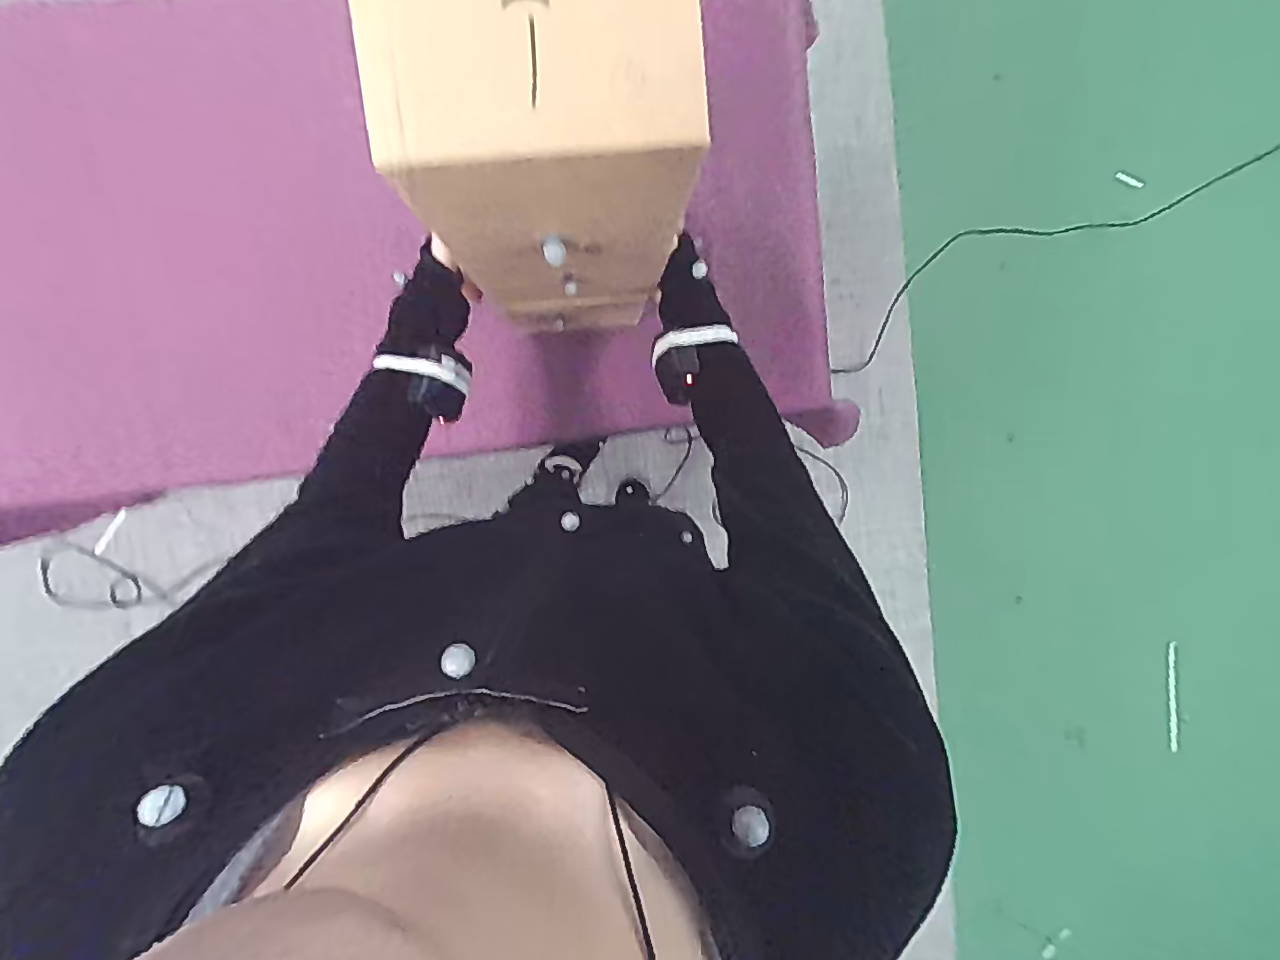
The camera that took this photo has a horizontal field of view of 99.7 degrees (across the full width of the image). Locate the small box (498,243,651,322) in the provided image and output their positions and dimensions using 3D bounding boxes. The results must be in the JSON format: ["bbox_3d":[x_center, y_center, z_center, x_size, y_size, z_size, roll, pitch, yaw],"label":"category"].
[{"bbox_3d":[-0.079,-0.295,0.658,0.168,0.176,0.179,-5,96,-4],"label":"small box"}]

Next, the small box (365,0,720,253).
[{"bbox_3d":[-0.054,-0.259,0.331,0.168,0.176,0.179,-6,96,-3],"label":"small box"}]
